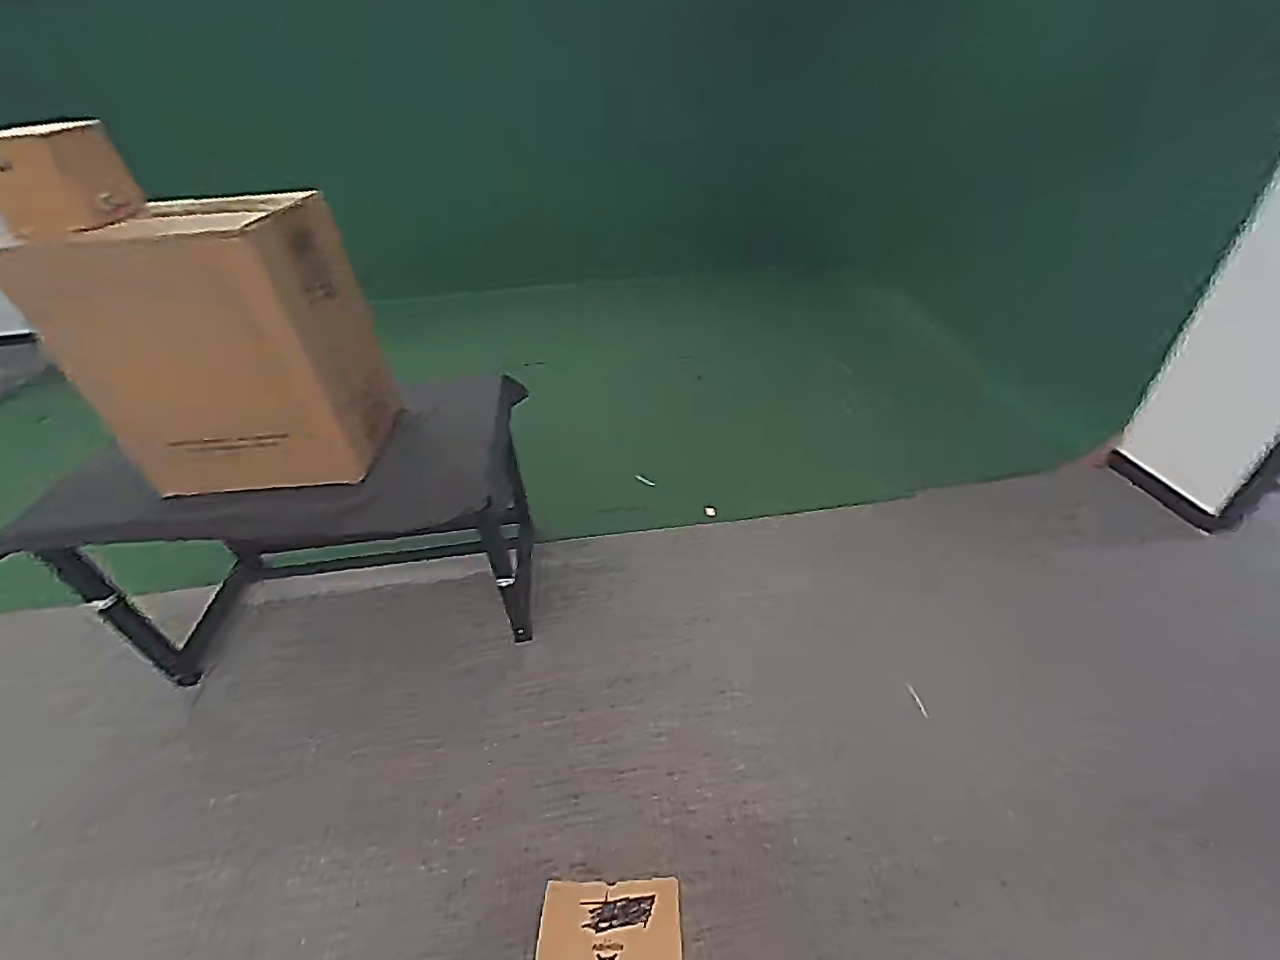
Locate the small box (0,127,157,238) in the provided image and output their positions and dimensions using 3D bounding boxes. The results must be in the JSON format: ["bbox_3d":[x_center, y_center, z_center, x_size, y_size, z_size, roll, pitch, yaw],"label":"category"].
[{"bbox_3d":[-1.165,-0.605,1.102,0.179,0.176,0.168,-3,41,0],"label":"small box"}]

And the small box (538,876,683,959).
[{"bbox_3d":[-0.030,0.611,0.631,0.168,0.176,0.179,-4,19,0],"label":"small box"}]
